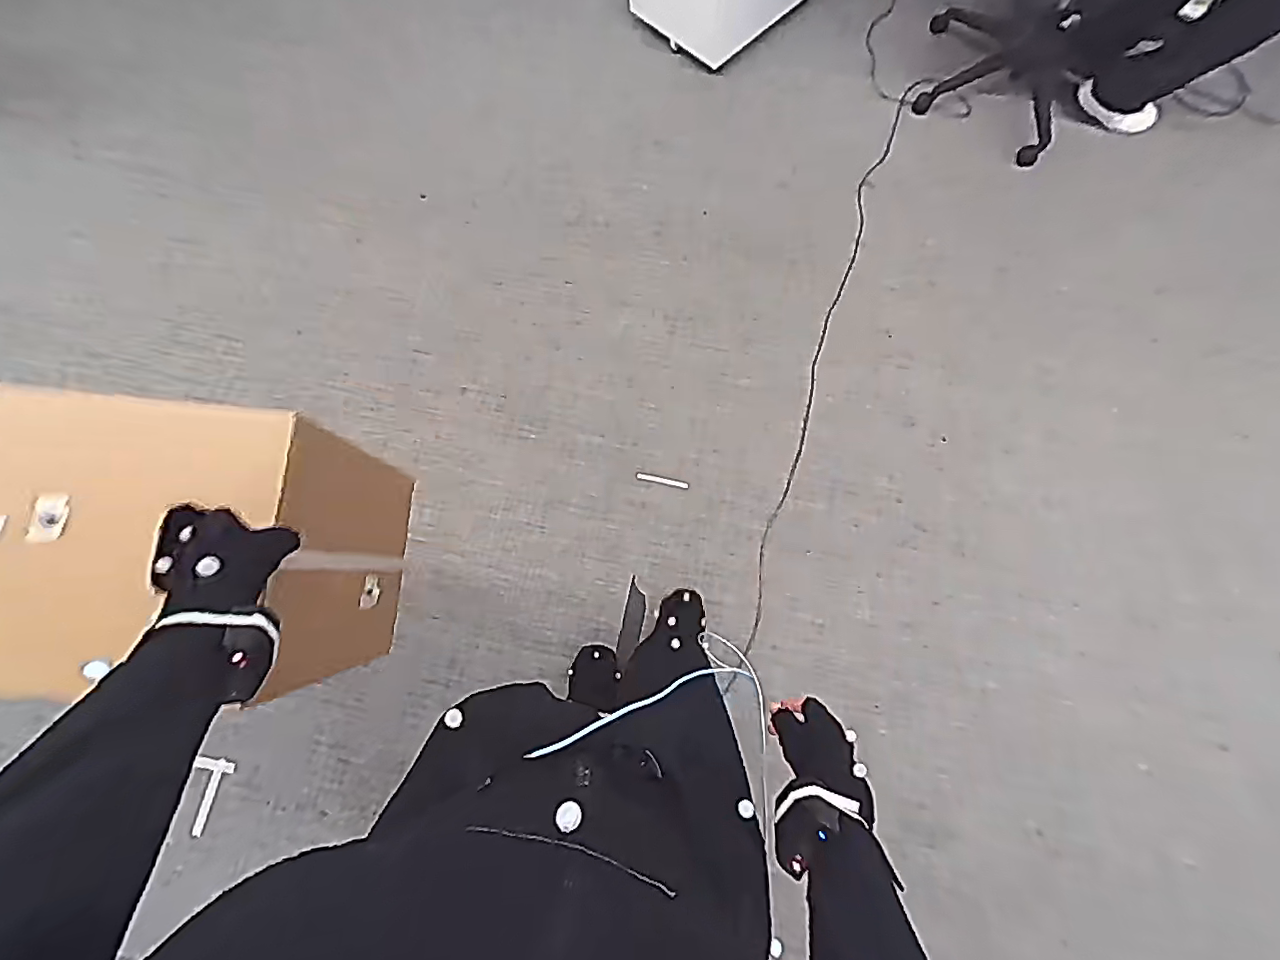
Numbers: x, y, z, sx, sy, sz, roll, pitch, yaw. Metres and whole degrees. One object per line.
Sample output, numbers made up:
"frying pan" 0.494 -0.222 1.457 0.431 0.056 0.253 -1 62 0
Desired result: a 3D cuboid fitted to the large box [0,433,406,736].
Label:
"large box" -0.560 0.136 0.747 0.320 0.408 0.320 4 79 -5
